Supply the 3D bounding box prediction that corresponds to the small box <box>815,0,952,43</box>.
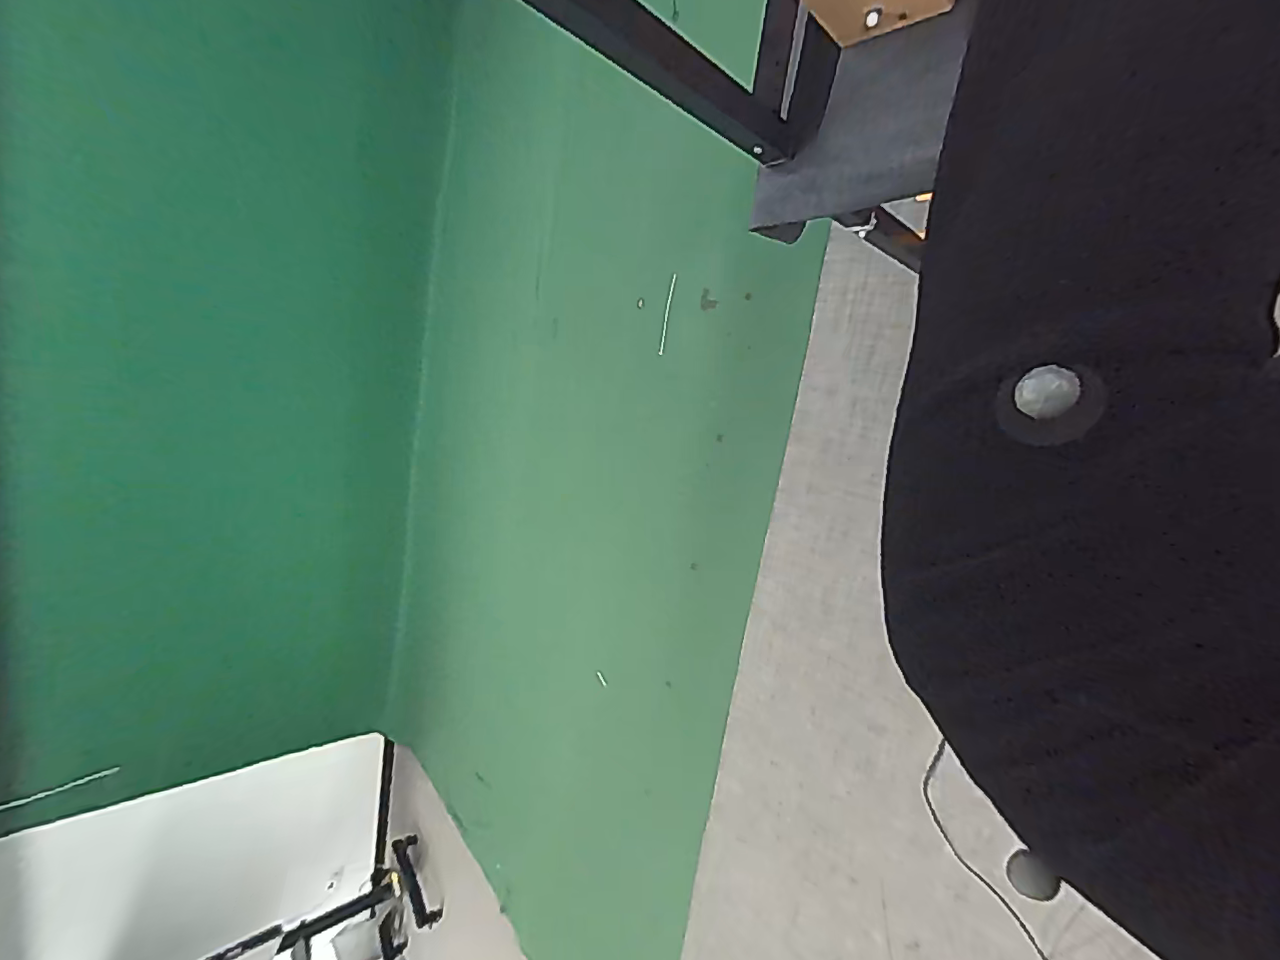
[{"bbox_3d":[0.326,-0.742,0.718,0.168,0.176,0.179,20,105,46],"label":"small box"}]
